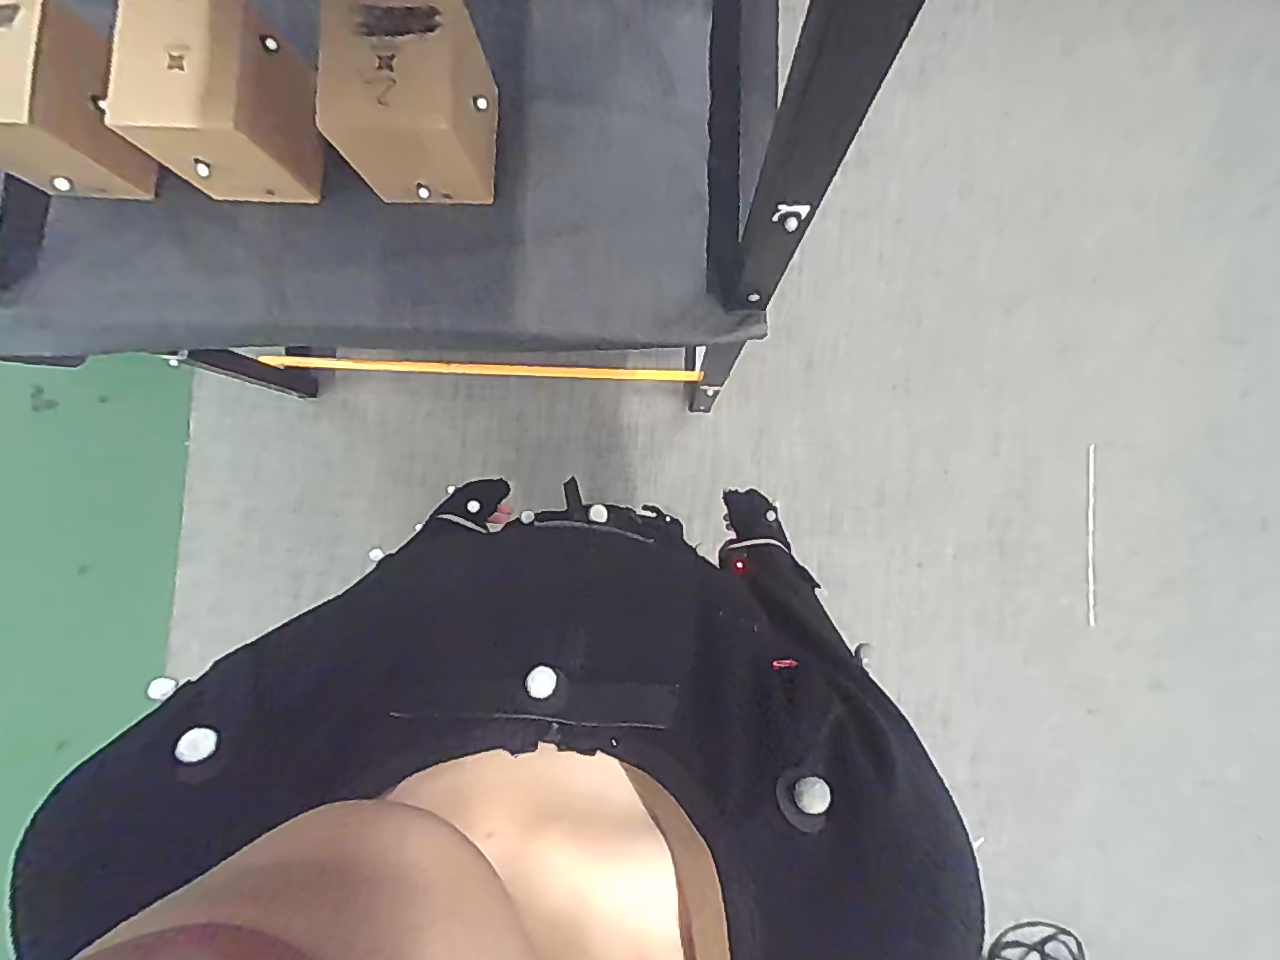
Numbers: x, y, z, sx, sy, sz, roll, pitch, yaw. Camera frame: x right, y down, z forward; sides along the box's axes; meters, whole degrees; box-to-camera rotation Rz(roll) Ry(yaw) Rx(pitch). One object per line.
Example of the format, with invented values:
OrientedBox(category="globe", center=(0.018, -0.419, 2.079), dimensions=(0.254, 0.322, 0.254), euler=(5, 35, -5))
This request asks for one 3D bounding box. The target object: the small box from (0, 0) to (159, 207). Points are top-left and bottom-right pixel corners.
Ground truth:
OrientedBox(category="small box", center=(-0.810, -0.510, 0.745), dimensions=(0.168, 0.176, 0.179), euler=(3, 88, 2))

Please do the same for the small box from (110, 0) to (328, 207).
OrientedBox(category="small box", center=(-0.557, -0.499, 0.739), dimensions=(0.168, 0.176, 0.179), euler=(3, 87, 2))
